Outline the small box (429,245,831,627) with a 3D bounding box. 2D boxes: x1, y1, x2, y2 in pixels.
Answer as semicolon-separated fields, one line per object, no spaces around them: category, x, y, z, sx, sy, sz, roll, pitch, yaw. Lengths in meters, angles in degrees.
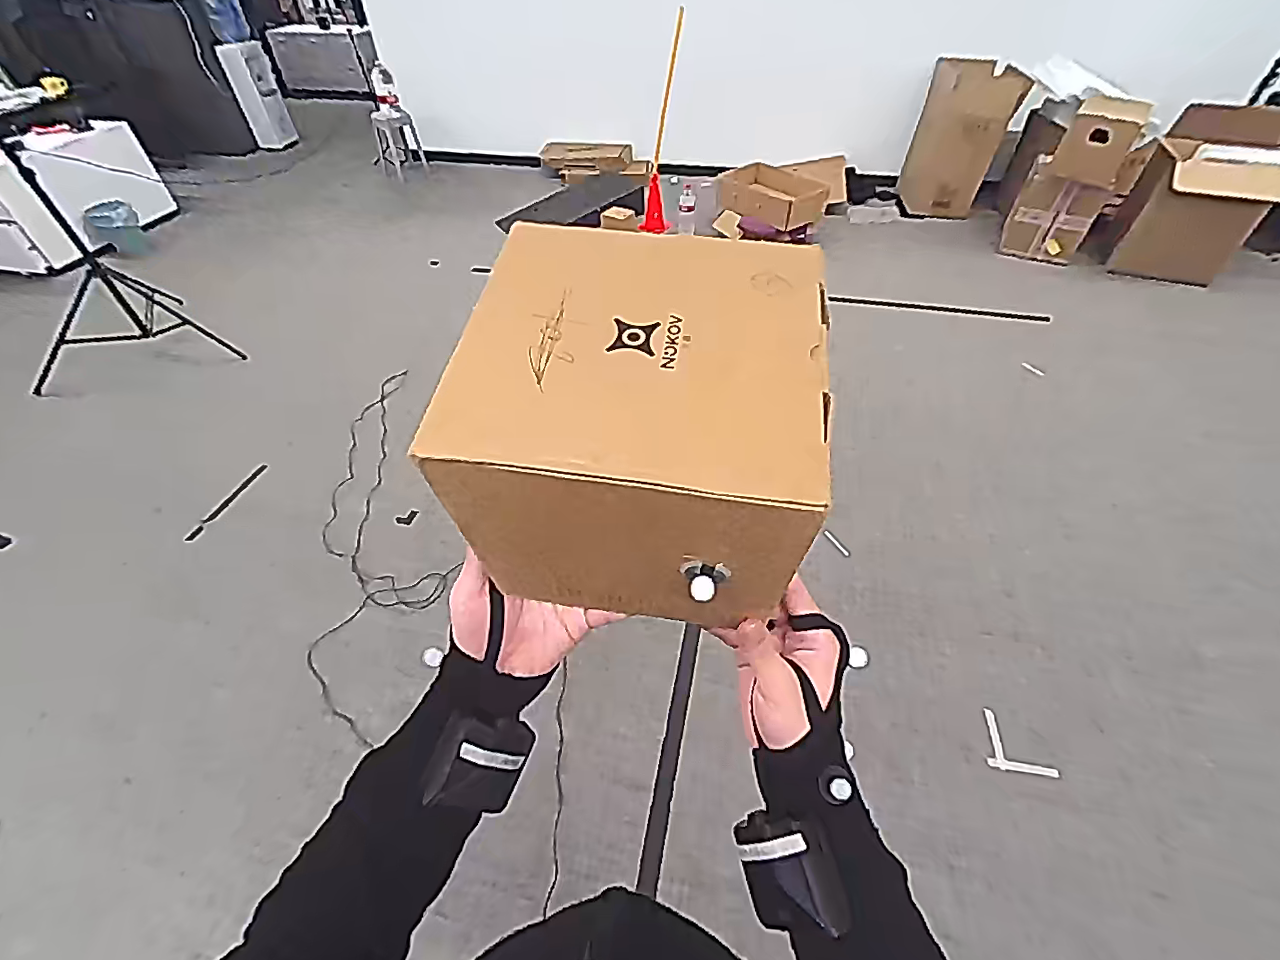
small box;0.005;-0.018;0.338;0.179;0.176;0.168;5;57;5
